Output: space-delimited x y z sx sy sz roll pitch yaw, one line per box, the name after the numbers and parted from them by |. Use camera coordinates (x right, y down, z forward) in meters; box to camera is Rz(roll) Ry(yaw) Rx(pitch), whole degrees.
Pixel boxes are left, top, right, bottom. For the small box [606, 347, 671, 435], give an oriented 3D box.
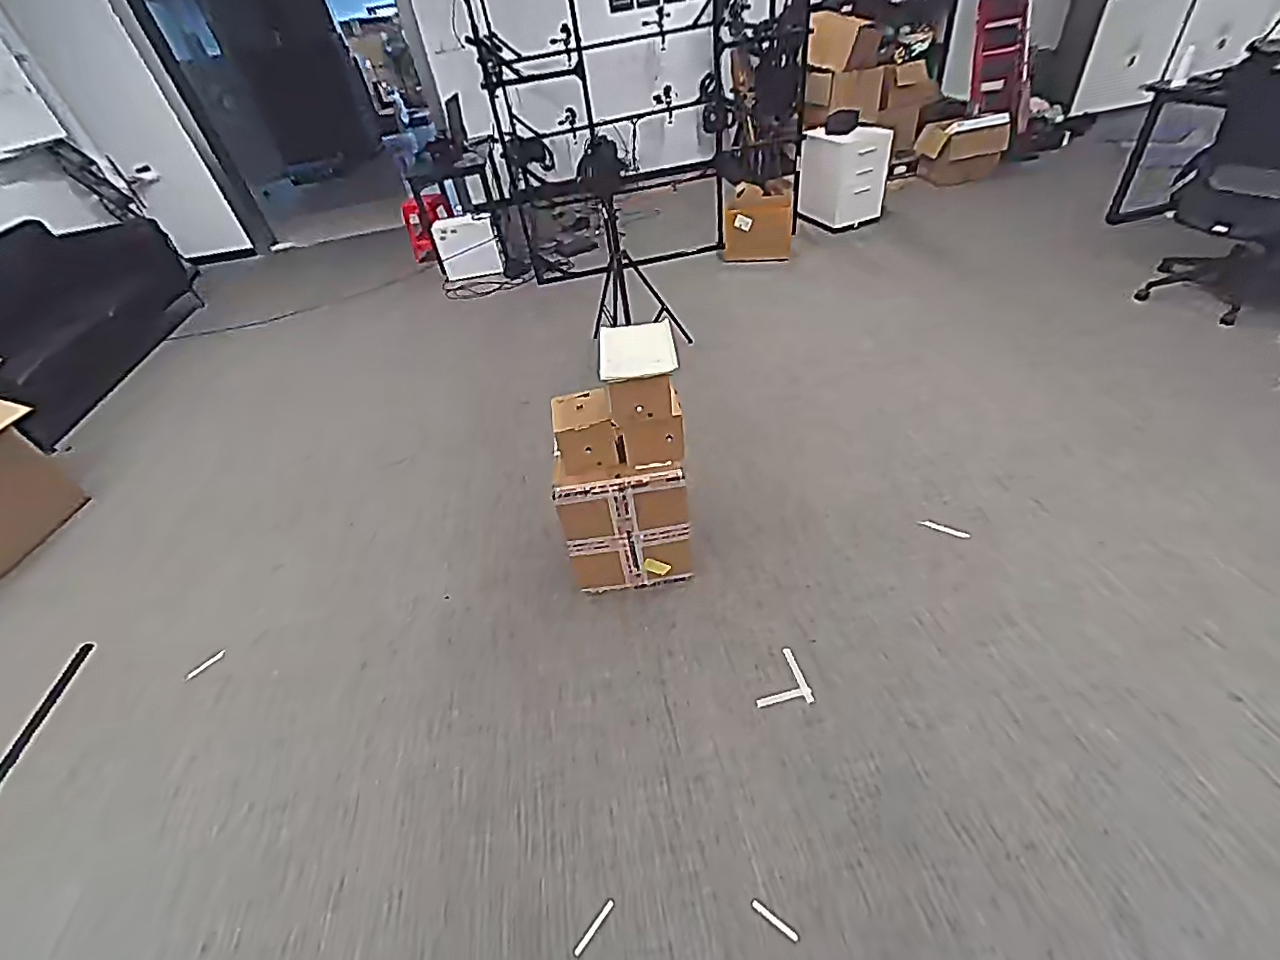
-0.004 -0.244 1.483 0.168 0.176 0.179 -6 43 1 | small box
